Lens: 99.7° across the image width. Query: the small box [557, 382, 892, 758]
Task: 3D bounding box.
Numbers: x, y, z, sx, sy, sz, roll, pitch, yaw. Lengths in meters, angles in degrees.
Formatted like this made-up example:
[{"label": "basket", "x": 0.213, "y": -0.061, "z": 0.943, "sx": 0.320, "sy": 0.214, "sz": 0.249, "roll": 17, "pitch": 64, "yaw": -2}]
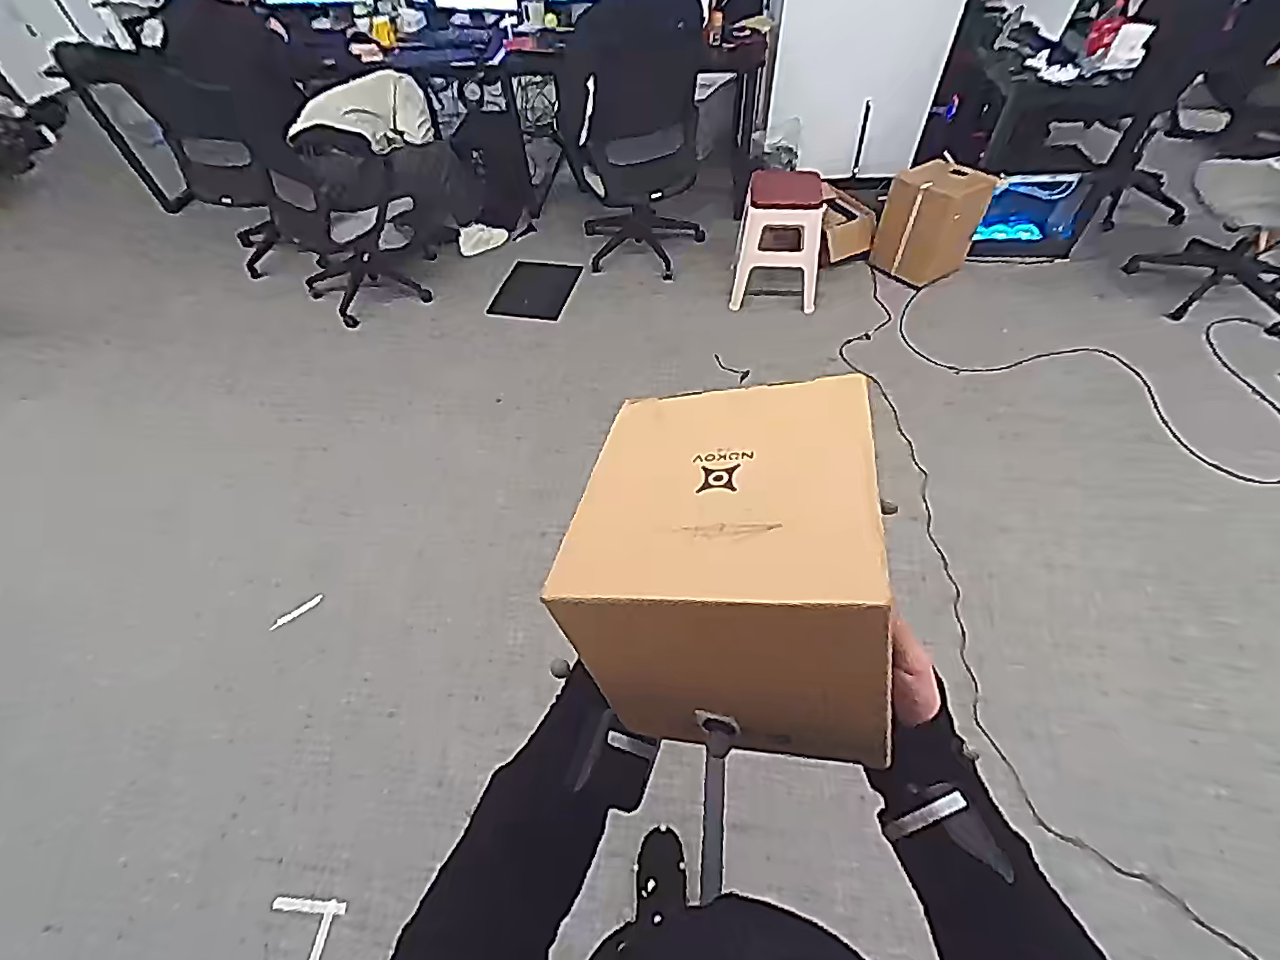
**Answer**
[{"label": "small box", "x": 0.070, "y": 0.058, "z": 0.367, "sx": 0.168, "sy": 0.176, "sz": 0.179, "roll": -4, "pitch": 43, "yaw": 20}]
